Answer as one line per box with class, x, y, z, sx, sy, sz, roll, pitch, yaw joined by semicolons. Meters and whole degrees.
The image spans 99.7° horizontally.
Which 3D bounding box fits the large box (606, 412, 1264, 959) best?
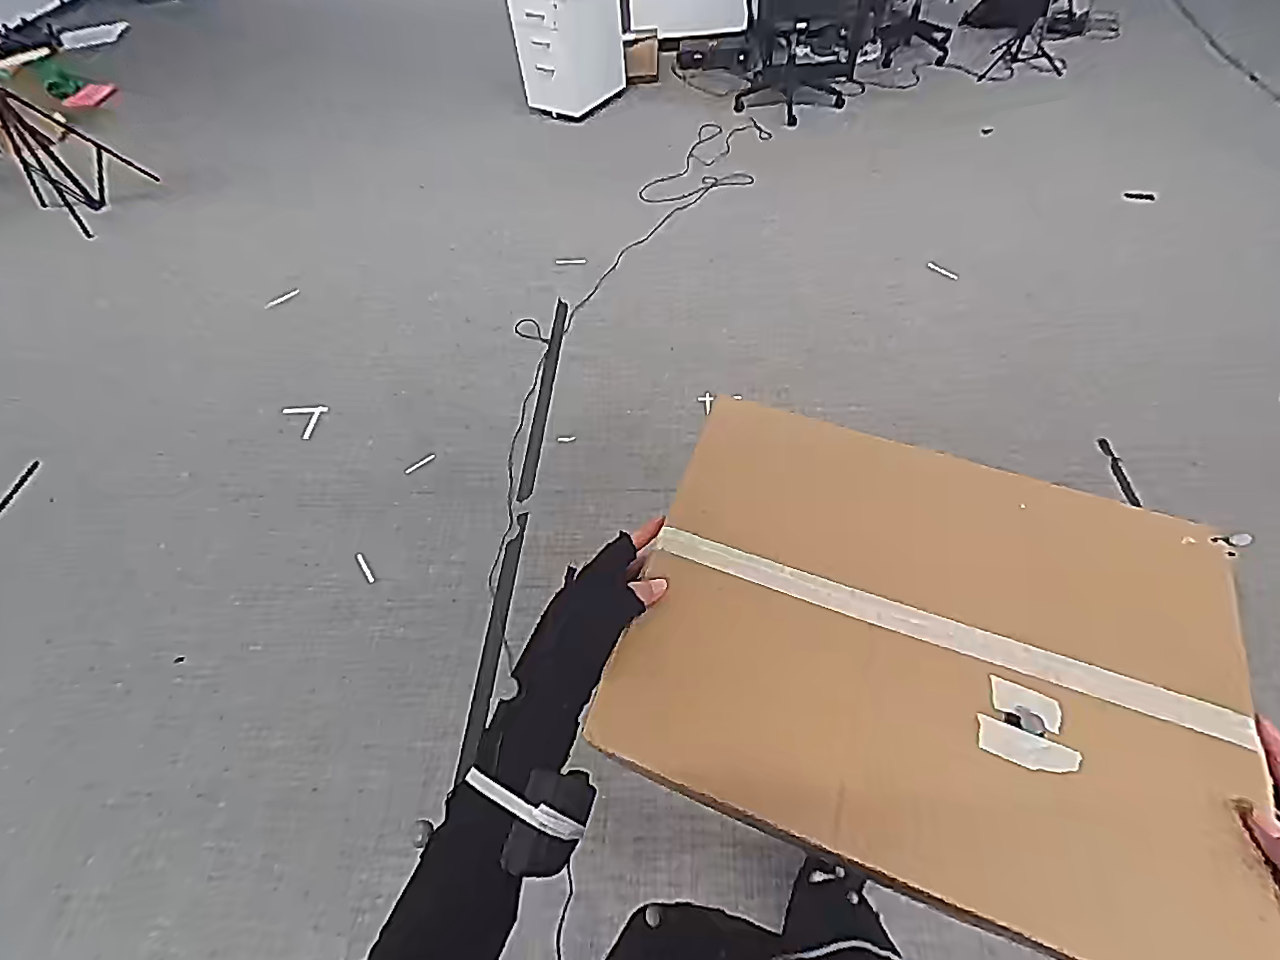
large box;0.216;0.187;0.532;0.408;0.320;0.320;18;63;13
